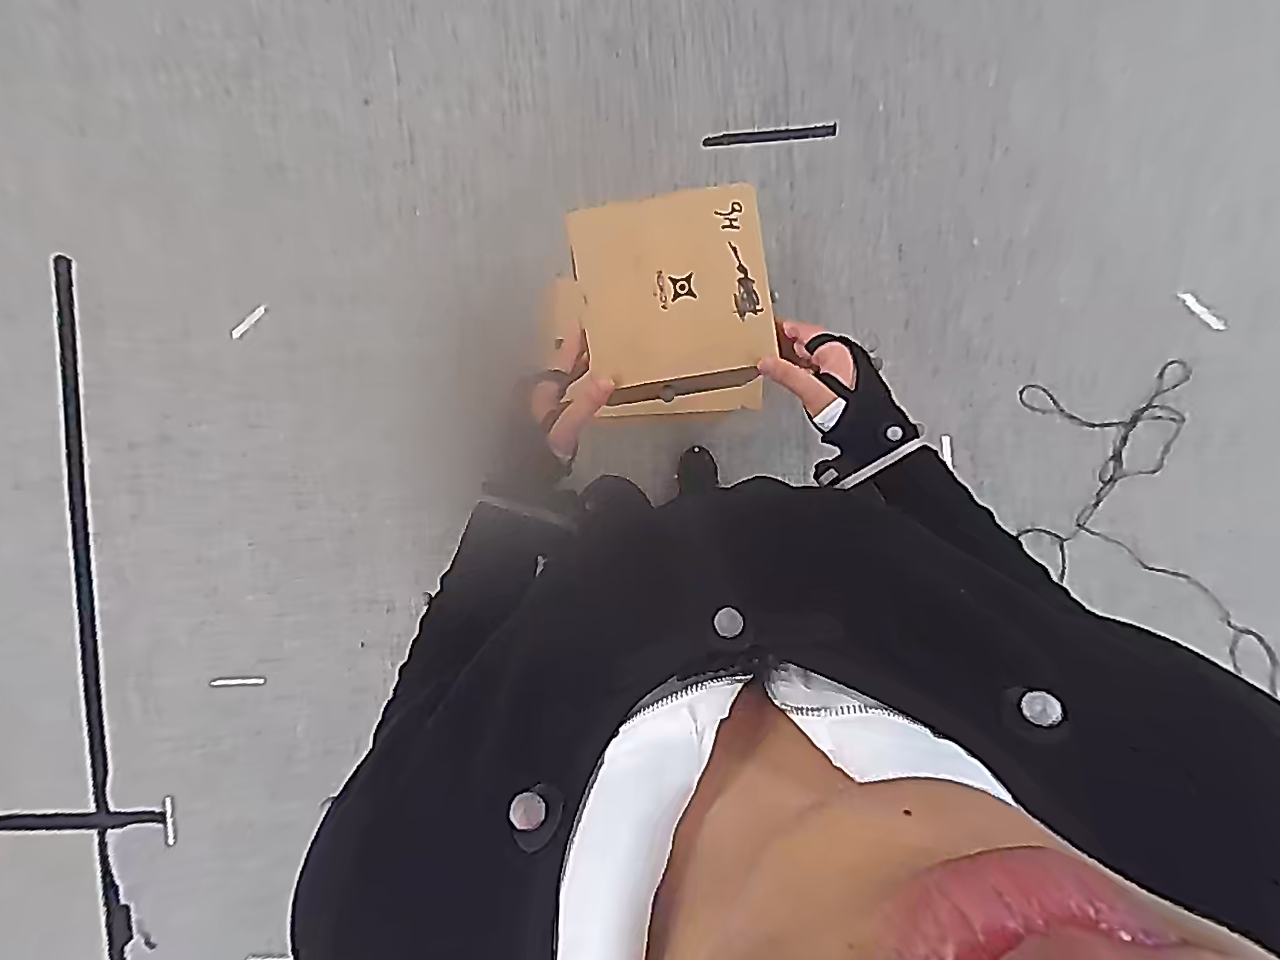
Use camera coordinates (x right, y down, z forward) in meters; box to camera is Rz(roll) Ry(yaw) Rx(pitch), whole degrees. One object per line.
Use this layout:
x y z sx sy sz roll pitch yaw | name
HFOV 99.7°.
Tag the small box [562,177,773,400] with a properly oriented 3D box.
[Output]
0.028 -0.185 0.574 0.179 0.176 0.168 -9 93 1 | small box
